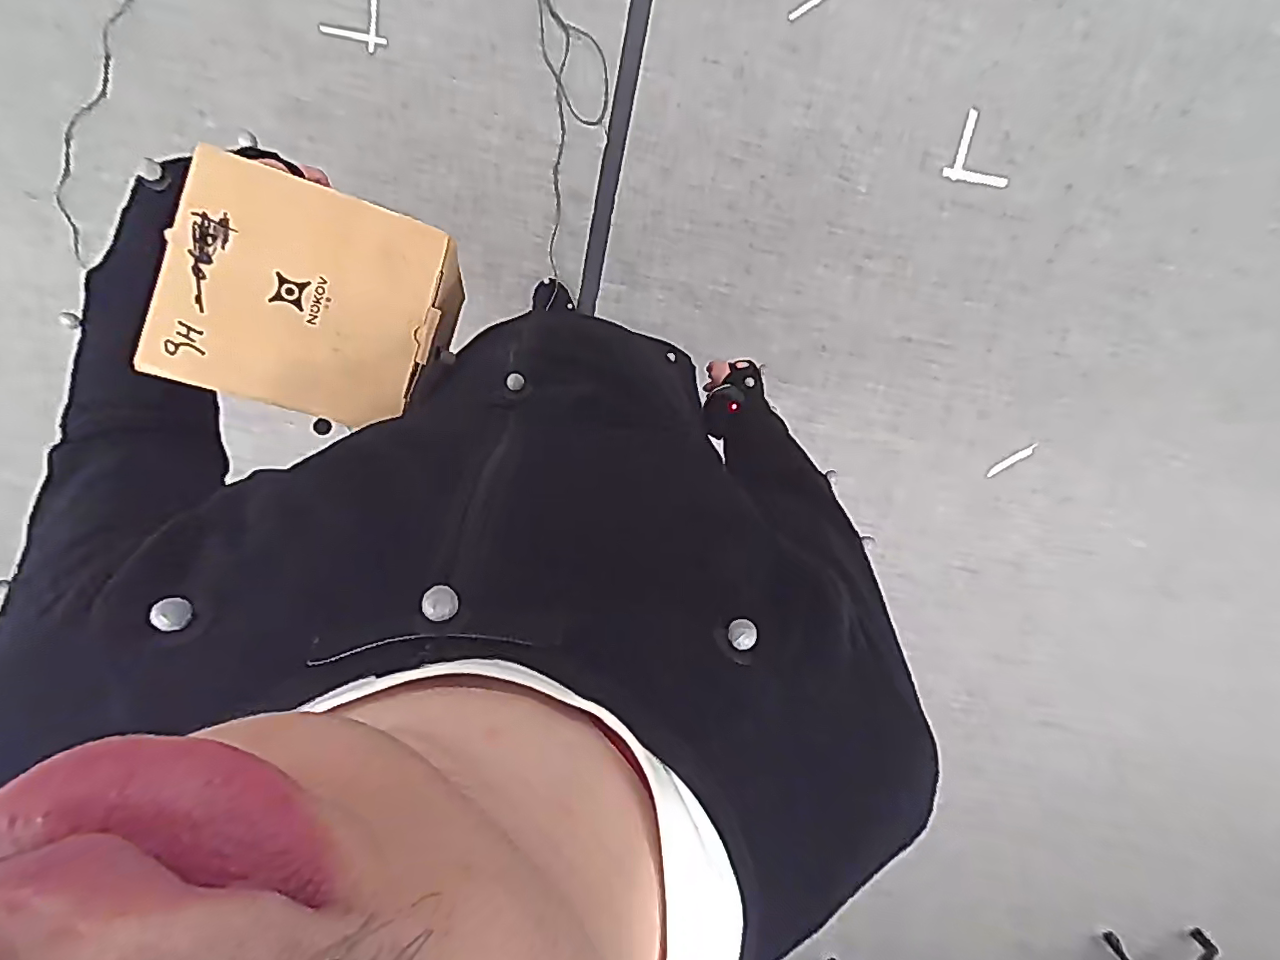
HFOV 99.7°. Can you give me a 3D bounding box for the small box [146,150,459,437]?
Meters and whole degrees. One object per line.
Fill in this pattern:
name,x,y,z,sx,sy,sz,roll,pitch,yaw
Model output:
small box,-0.268,-0.140,0.480,0.179,0.176,0.168,15,88,-16
